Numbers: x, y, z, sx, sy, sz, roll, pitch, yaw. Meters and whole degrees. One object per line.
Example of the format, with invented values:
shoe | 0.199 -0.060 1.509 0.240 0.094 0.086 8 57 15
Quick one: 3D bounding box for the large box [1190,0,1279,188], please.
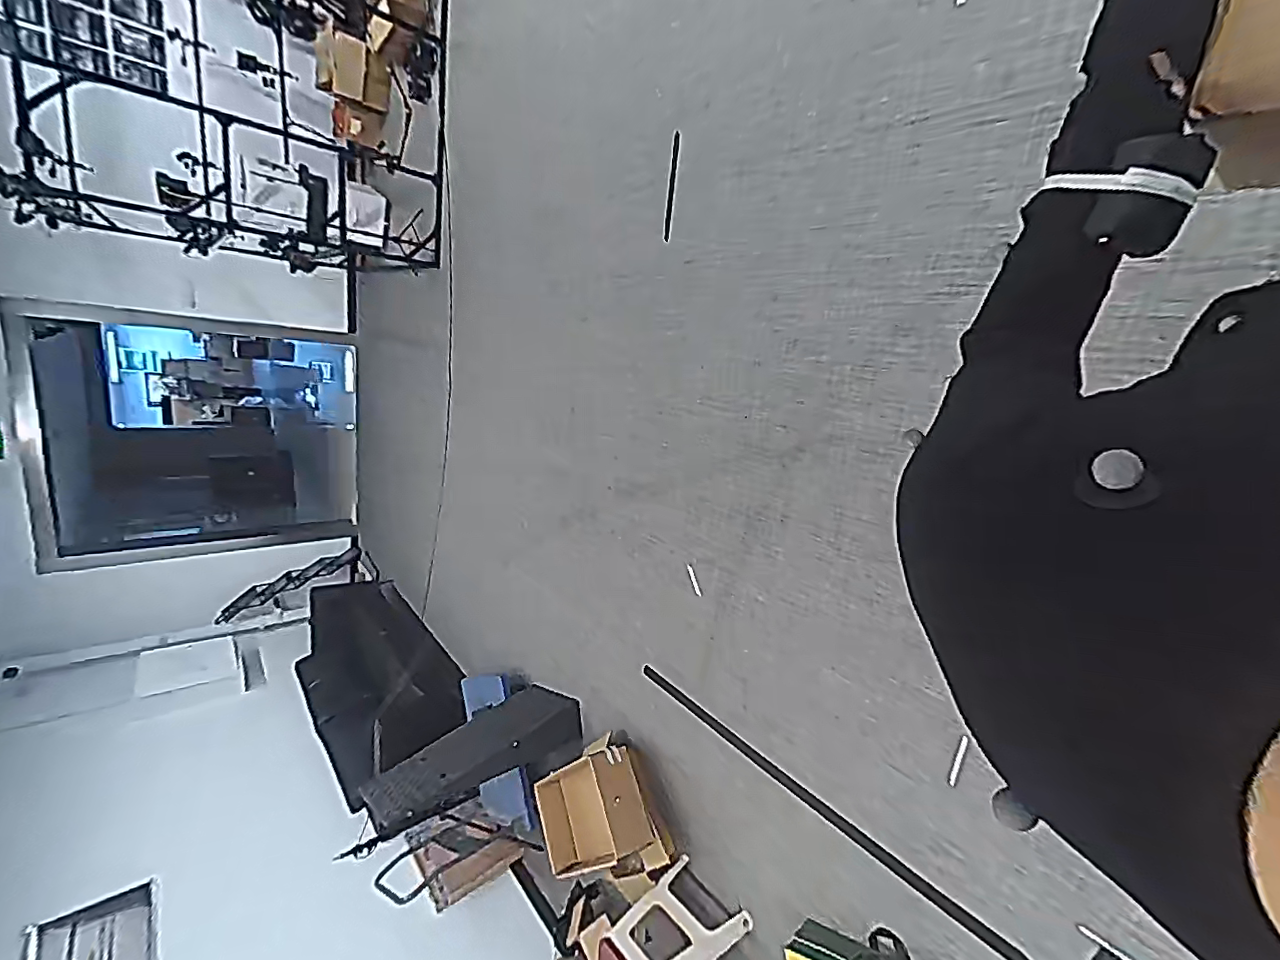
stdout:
large box | 0.613 -0.368 0.274 0.408 0.320 0.320 21 117 45
